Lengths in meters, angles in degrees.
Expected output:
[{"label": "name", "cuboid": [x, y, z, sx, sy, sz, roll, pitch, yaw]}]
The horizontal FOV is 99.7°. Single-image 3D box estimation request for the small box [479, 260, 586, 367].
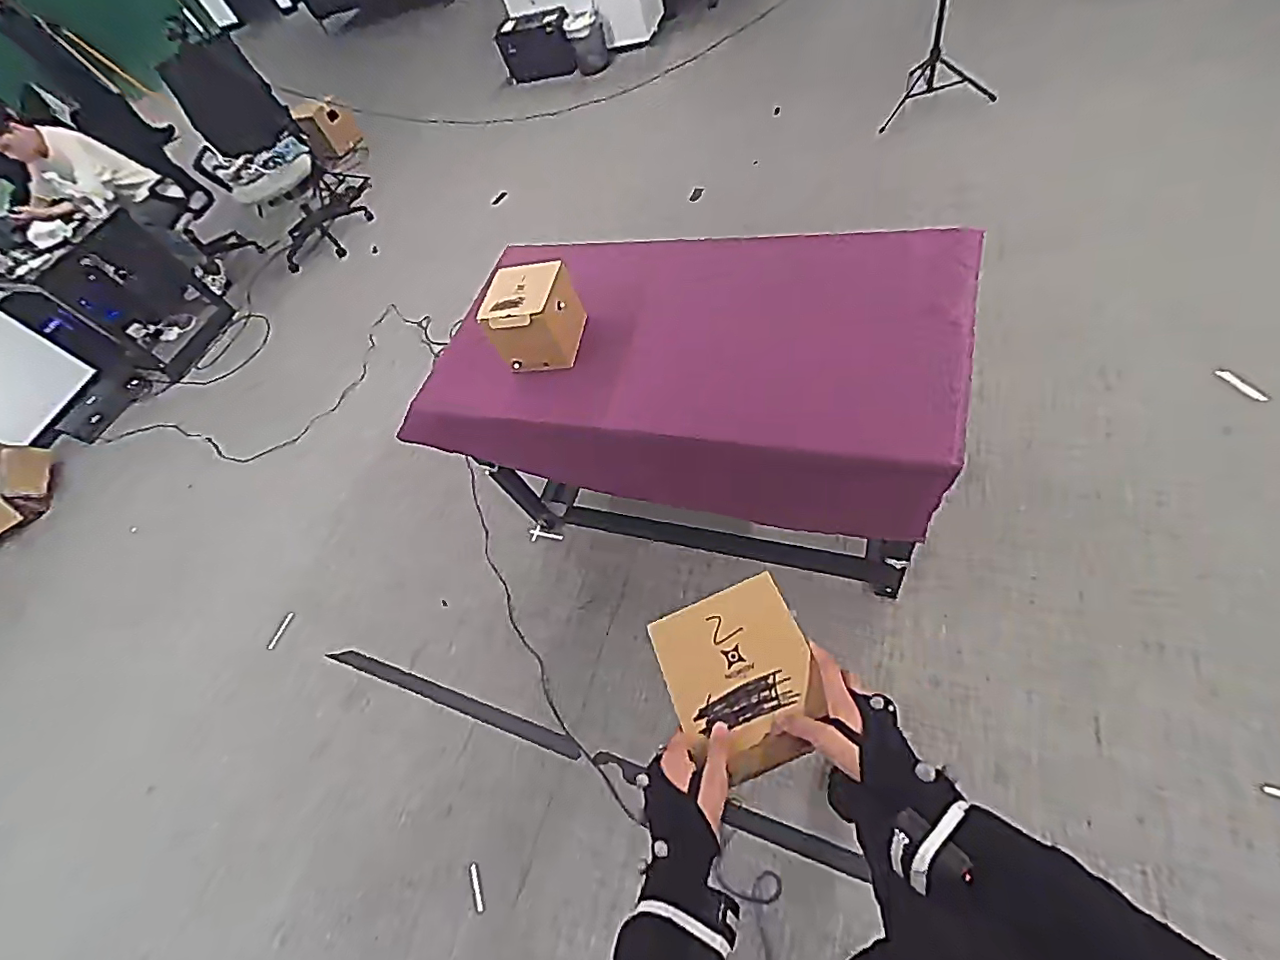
[{"label": "small box", "cuboid": [-0.240, -0.376, 1.257, 0.168, 0.176, 0.179, 0, 59, 18]}]
